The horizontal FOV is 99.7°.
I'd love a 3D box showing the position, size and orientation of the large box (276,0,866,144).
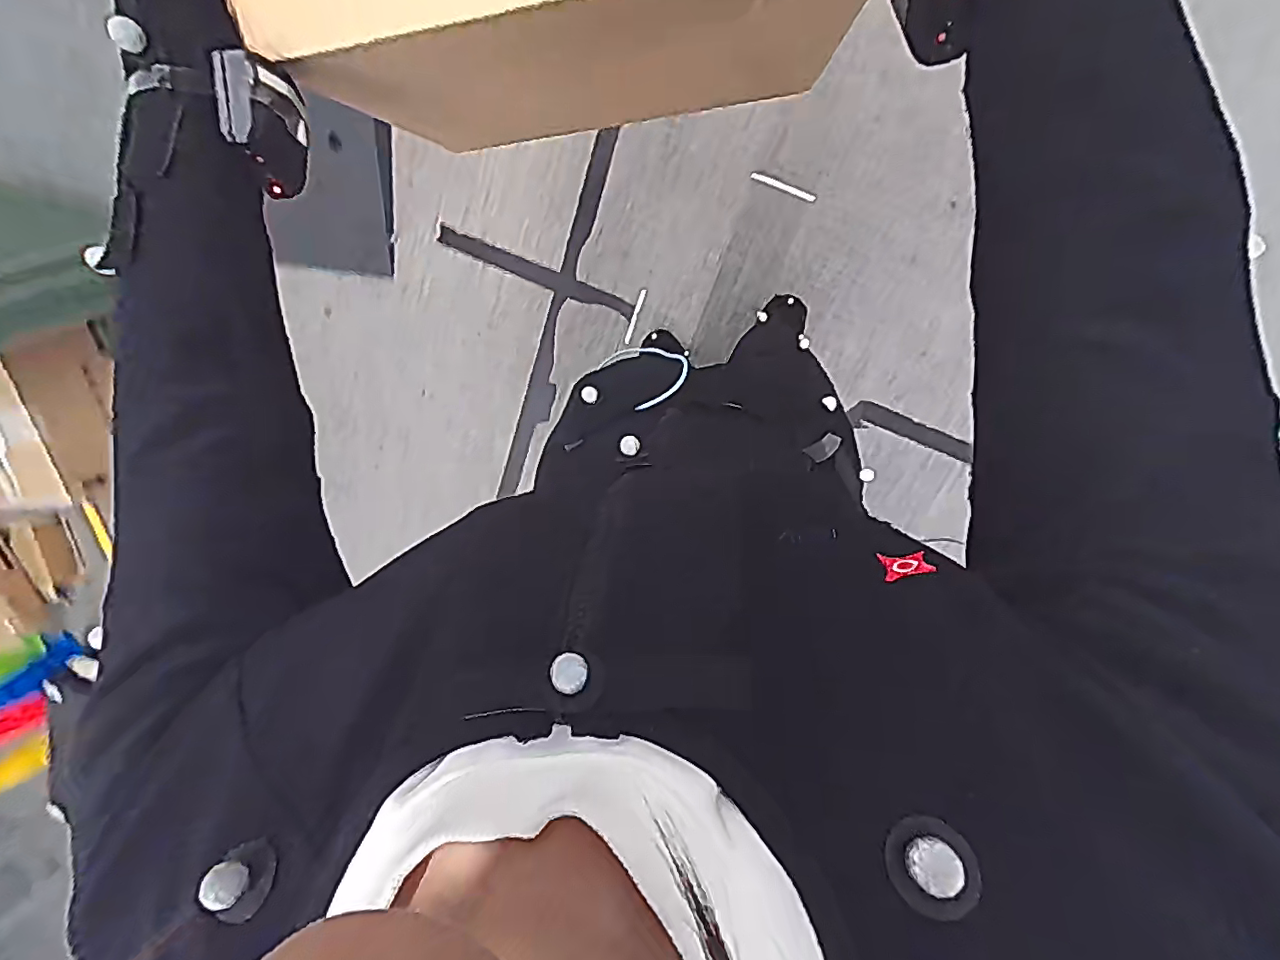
[{"bbox_3d":[-0.039,-0.491,0.408,0.408,0.320,0.320,-5,112,7],"label":"large box"}]
